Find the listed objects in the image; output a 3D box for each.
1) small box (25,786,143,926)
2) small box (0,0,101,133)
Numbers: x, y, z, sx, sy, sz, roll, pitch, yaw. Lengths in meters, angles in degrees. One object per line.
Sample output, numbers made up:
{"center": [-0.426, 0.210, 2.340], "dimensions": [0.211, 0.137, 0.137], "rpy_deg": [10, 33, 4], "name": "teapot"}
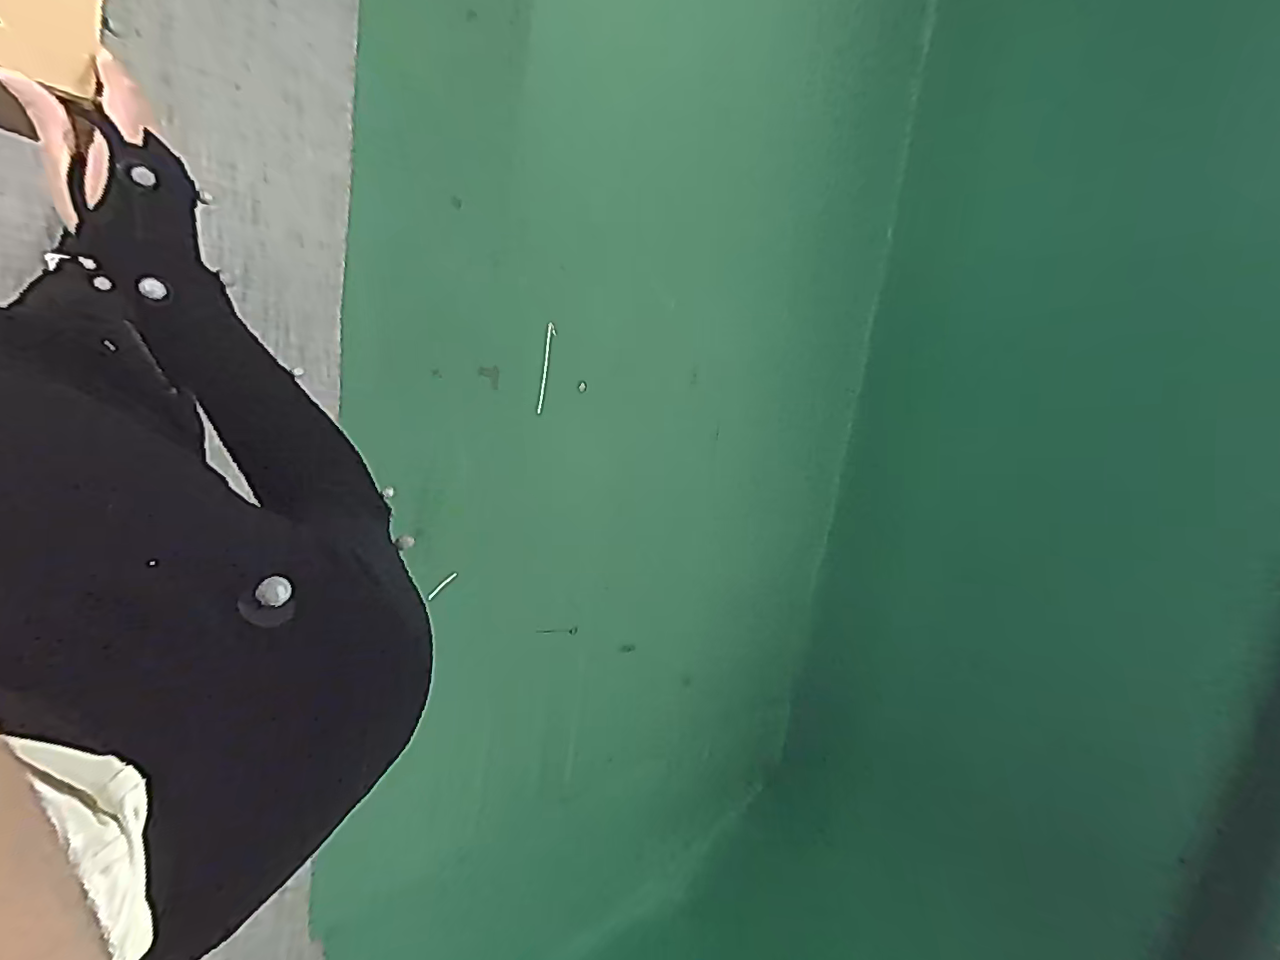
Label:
{"center": [-1.272, 0.845, 1.240], "dimensions": [0.179, 0.176, 0.168], "rpy_deg": [3, 100, -46], "name": "small box"}
{"center": [-0.475, -0.371, 0.357], "dimensions": [0.168, 0.176, 0.179], "rpy_deg": [5, 96, -47], "name": "small box"}
